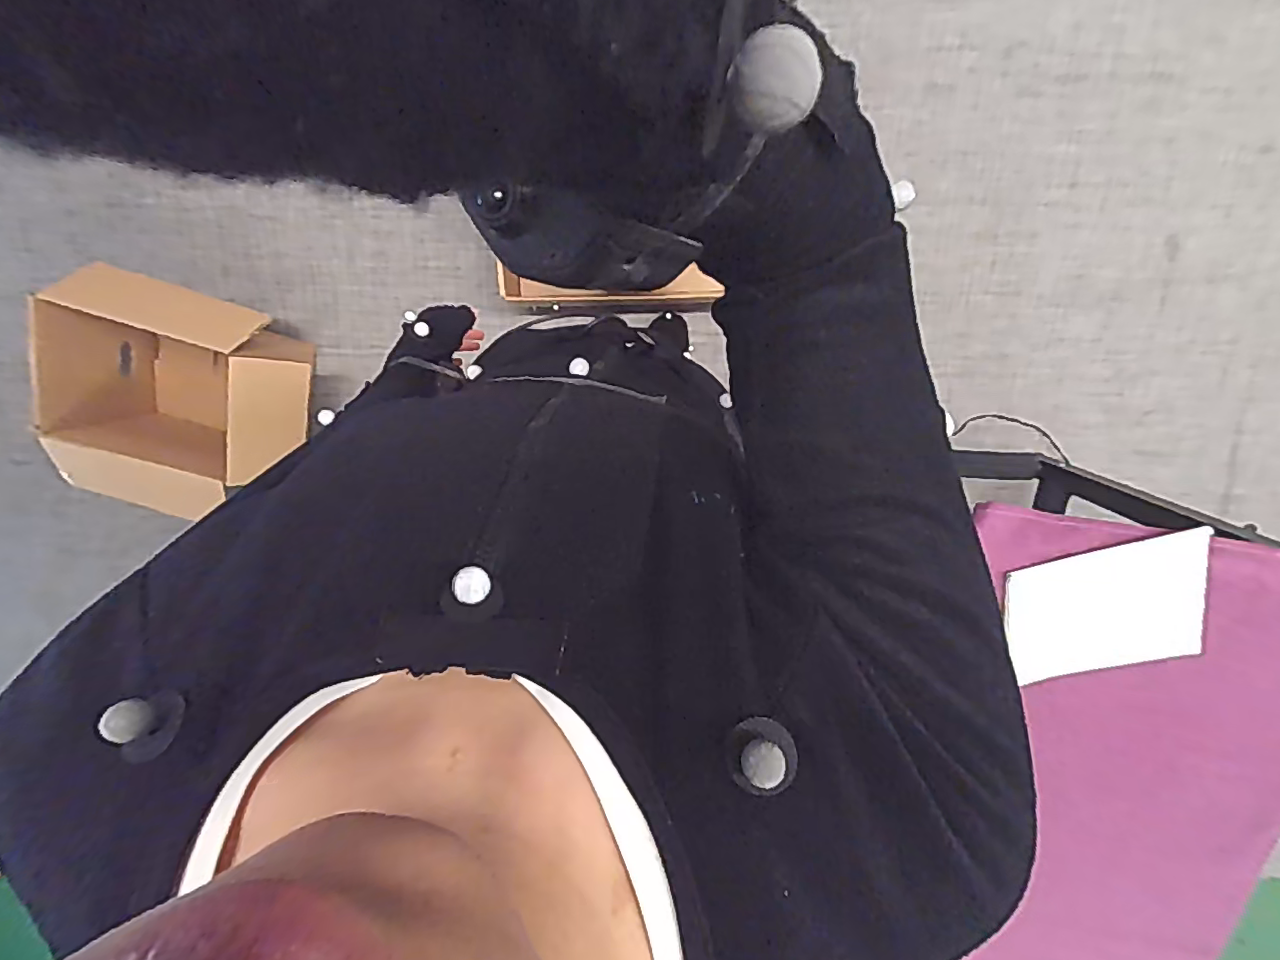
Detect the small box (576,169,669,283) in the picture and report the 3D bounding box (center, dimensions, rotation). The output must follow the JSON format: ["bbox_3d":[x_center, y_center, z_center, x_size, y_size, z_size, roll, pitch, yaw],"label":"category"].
[{"bbox_3d":[-0.029,-0.479,1.043,0.168,0.176,0.179,-1,107,2],"label":"small box"}]
